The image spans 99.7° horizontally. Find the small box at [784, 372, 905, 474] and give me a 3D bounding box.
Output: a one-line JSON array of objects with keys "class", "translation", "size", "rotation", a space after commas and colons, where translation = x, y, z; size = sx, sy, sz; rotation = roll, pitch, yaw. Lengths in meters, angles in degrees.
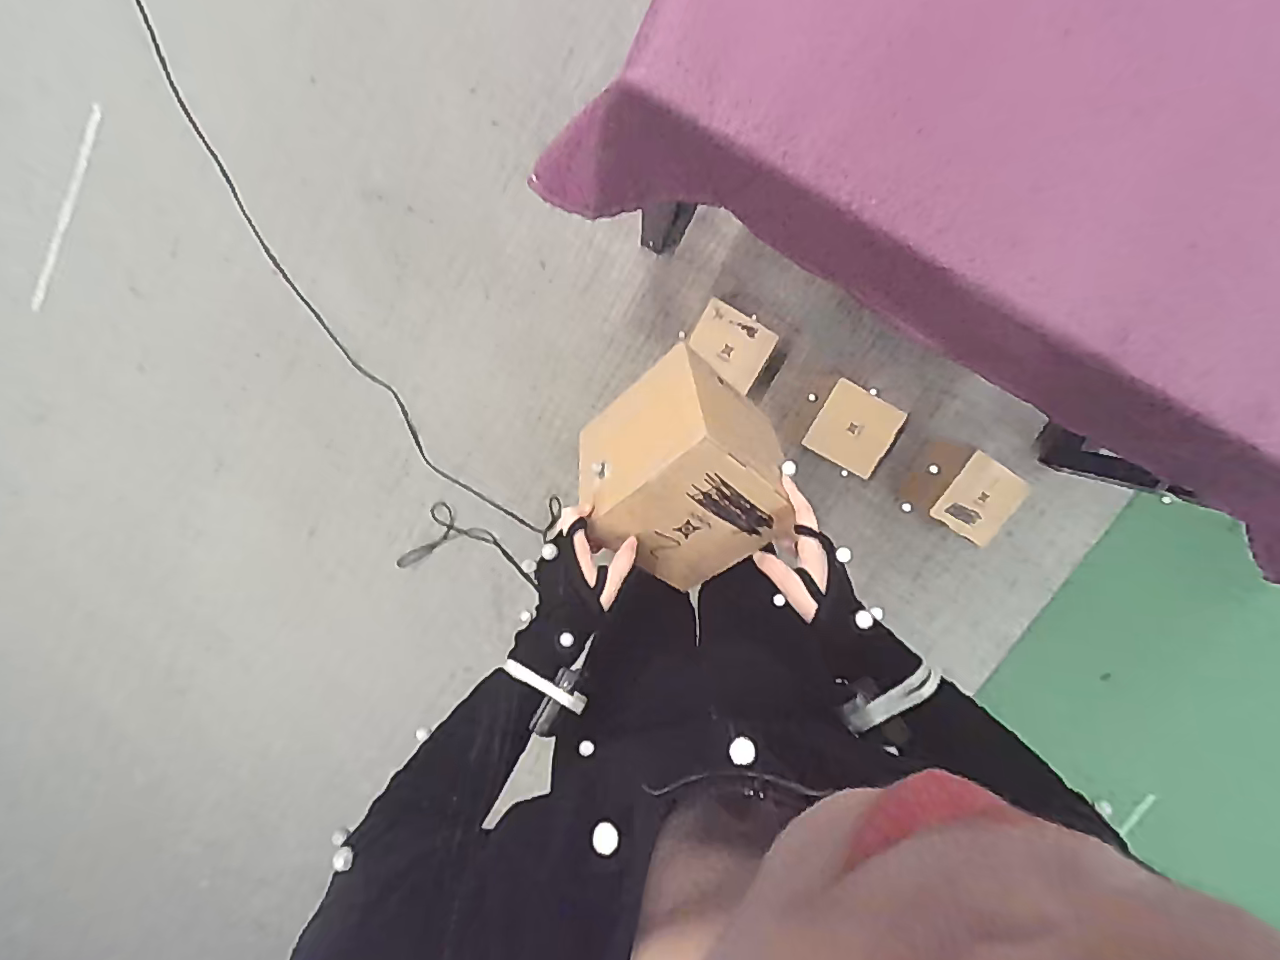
[{"class": "small box", "translation": [0.458, -0.136, 1.247], "size": [0.179, 0.176, 0.168], "rotation": [28, 101, -6]}]
